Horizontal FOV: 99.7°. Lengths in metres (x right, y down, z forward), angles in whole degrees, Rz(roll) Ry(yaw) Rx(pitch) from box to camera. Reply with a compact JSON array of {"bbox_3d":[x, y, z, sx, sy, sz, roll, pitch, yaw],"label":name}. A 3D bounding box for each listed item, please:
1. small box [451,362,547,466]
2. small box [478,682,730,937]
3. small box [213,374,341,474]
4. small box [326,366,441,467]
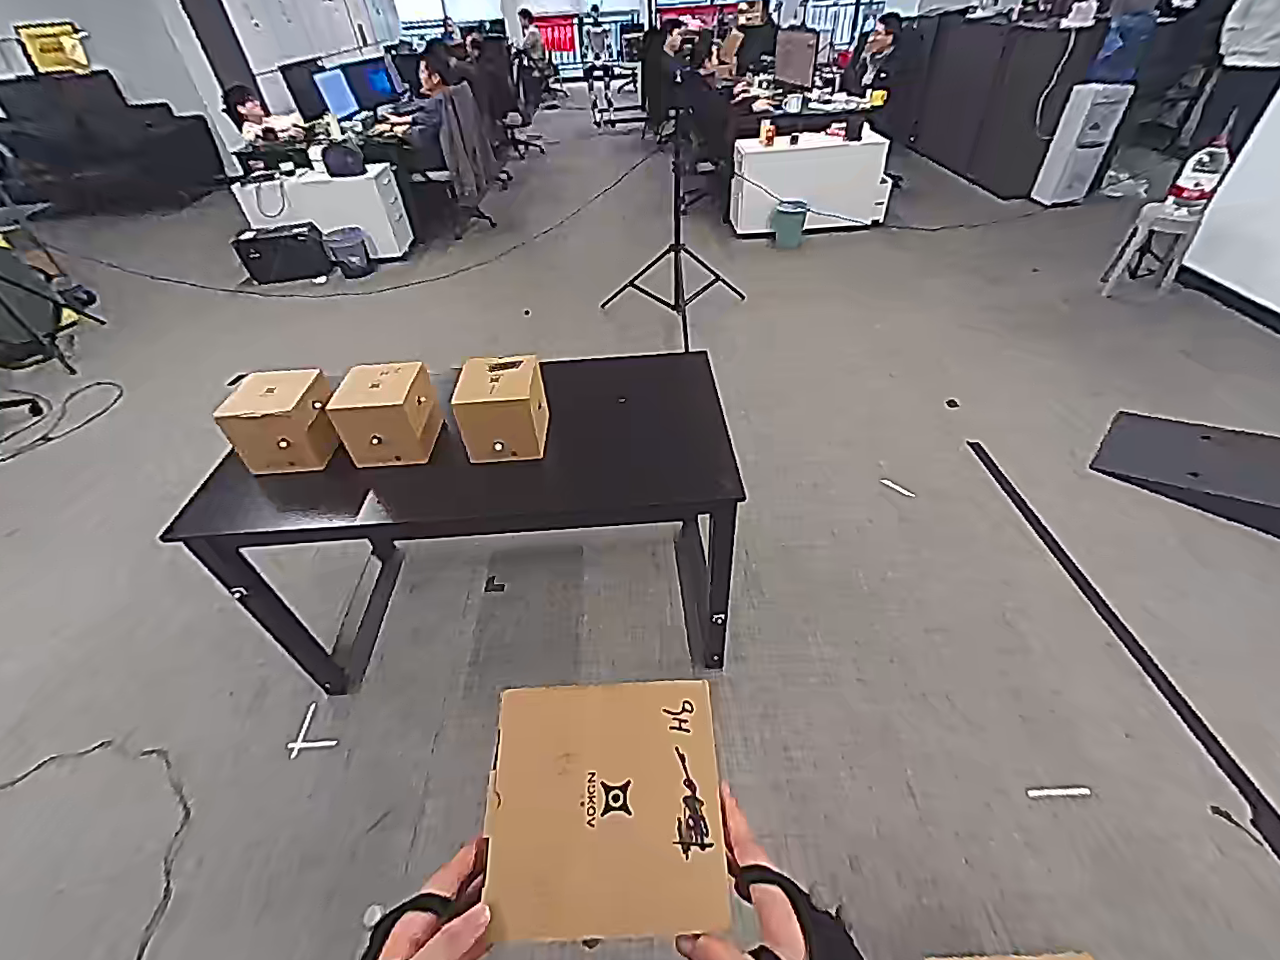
[{"bbox_3d":[-0.313,-0.152,1.238,0.168,0.176,0.179,-4,43,0],"label":"small box"},{"bbox_3d":[-0.022,0.285,0.474,0.179,0.176,0.168,-3,56,1],"label":"small box"},{"bbox_3d":[-0.817,-0.125,1.249,0.168,0.176,0.179,-3,41,-1],"label":"small box"},{"bbox_3d":[-0.578,-0.142,1.246,0.168,0.176,0.179,-3,42,0],"label":"small box"}]
